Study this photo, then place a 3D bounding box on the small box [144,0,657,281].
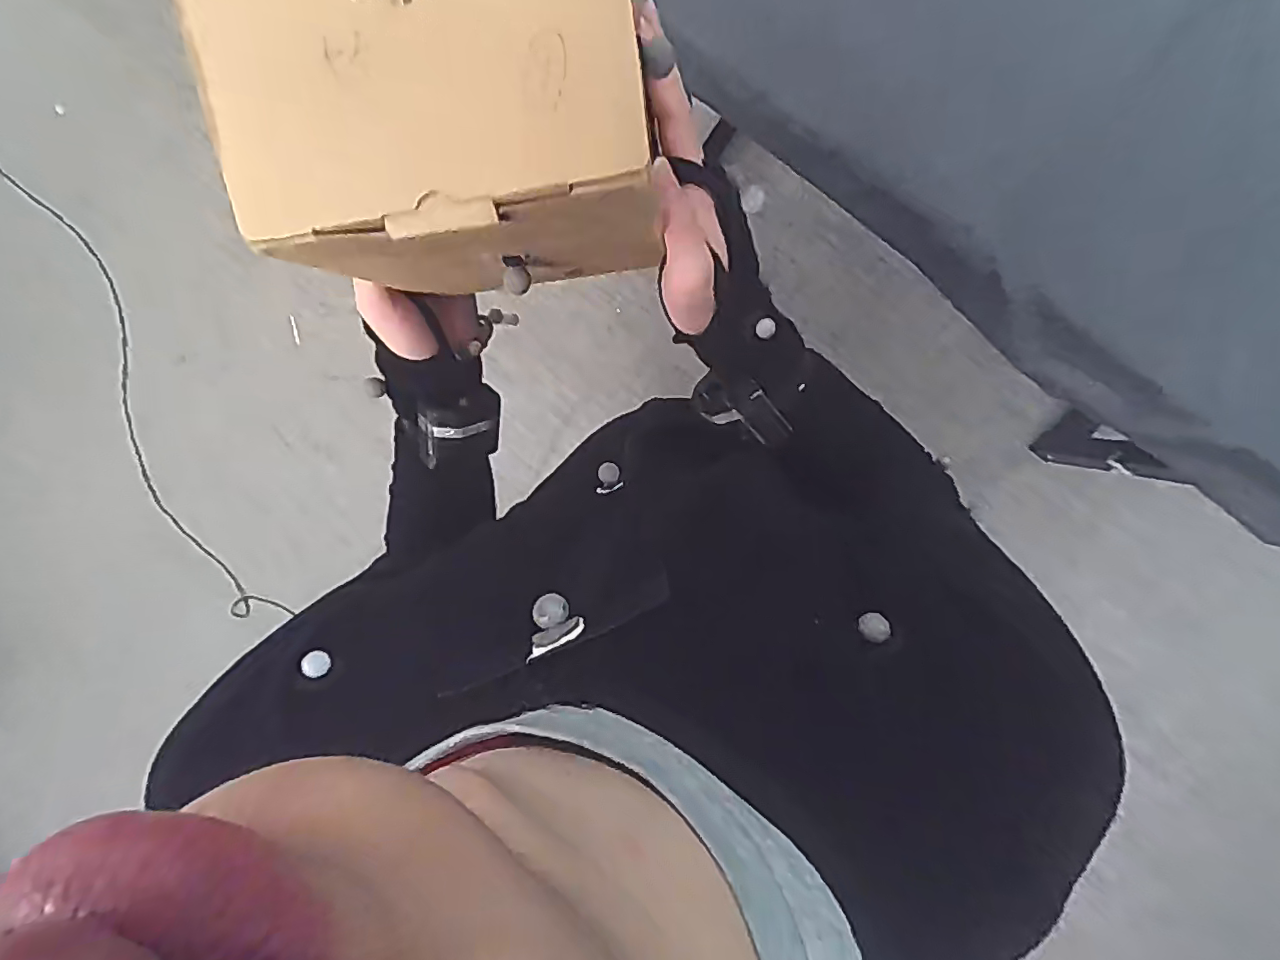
[{"bbox_3d":[-0.084,-0.197,0.255,0.168,0.176,0.179,-6,103,5],"label":"small box"}]
